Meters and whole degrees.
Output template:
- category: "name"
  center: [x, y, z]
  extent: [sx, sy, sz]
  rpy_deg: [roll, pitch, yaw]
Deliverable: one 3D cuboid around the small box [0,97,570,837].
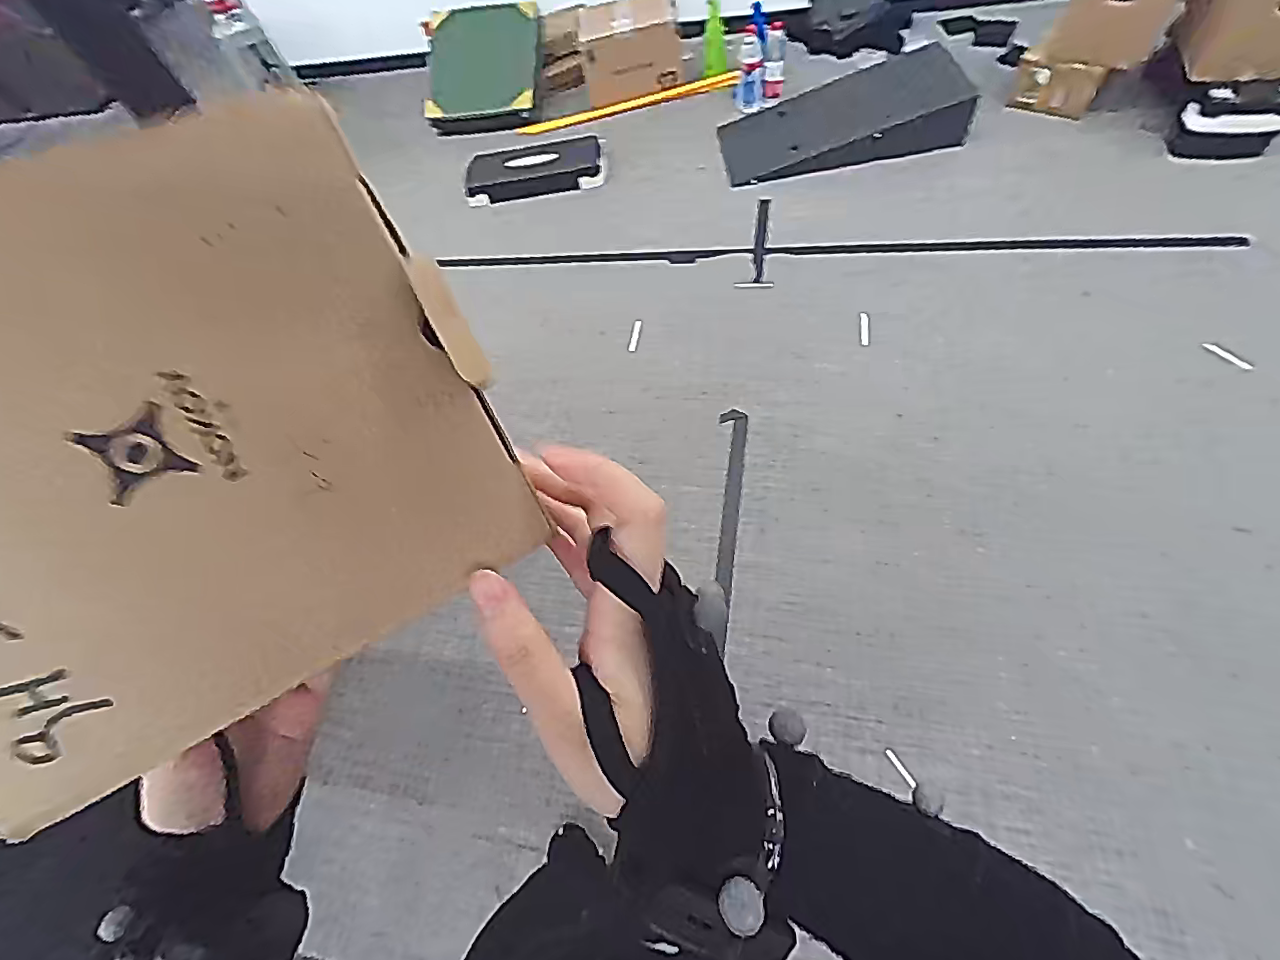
- category: "small box"
  center: [-0.154, -0.012, 0.234]
  extent: [0.179, 0.176, 0.168]
  rpy_deg: [-27, 97, -15]
